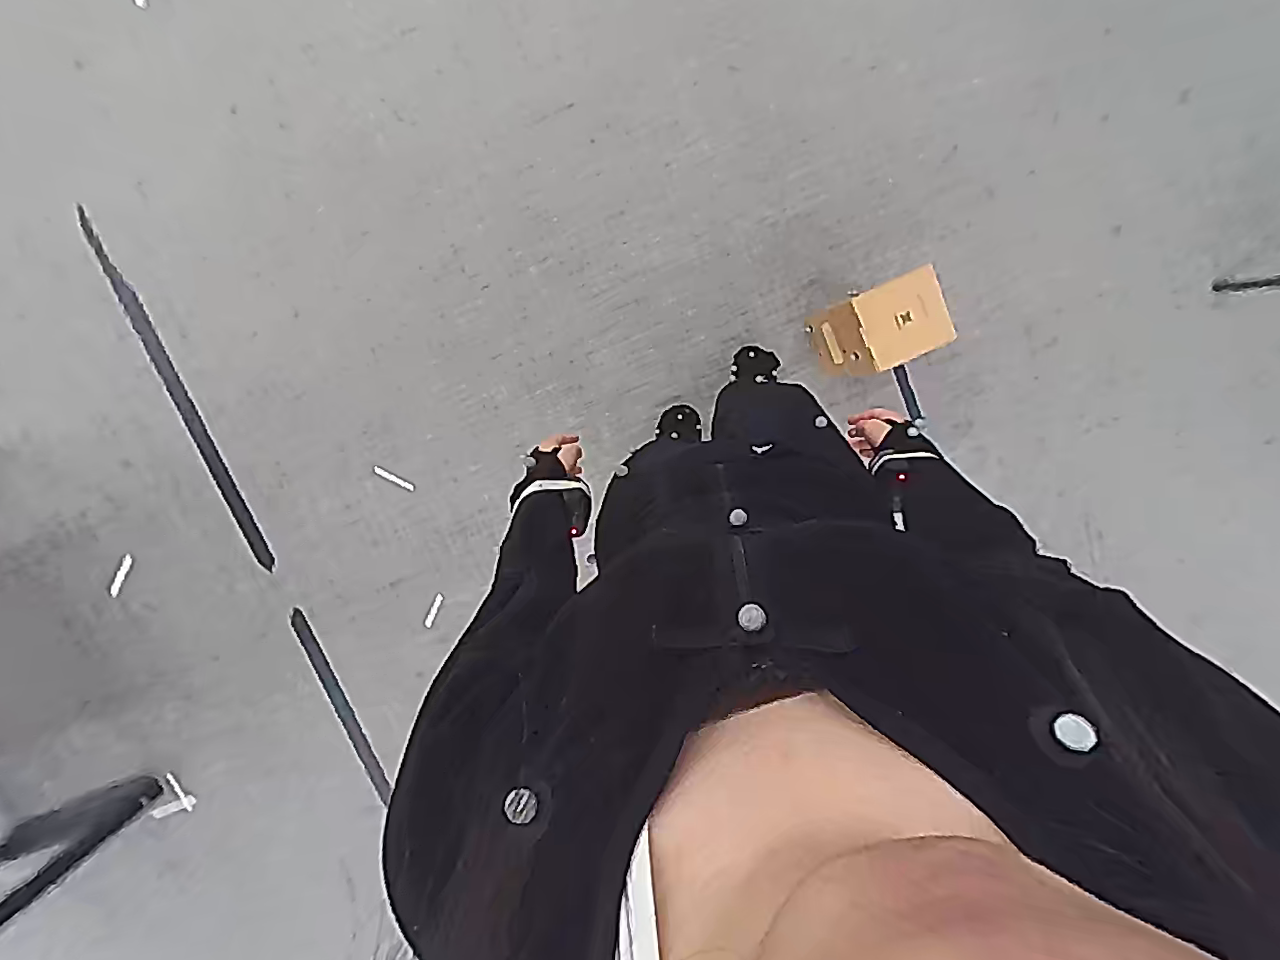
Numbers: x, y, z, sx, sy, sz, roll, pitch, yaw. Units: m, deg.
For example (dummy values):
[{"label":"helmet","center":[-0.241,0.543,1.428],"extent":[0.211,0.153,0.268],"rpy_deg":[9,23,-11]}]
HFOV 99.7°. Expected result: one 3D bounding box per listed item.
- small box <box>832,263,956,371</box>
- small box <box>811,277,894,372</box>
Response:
[{"label":"small box","center":[0.541,-0.346,1.186],"extent":[0.179,0.176,0.168],"rpy_deg":[-24,100,4]},{"label":"small box","center":[0.543,-0.376,1.345],"extent":[0.179,0.176,0.168],"rpy_deg":[-23,99,5]}]
